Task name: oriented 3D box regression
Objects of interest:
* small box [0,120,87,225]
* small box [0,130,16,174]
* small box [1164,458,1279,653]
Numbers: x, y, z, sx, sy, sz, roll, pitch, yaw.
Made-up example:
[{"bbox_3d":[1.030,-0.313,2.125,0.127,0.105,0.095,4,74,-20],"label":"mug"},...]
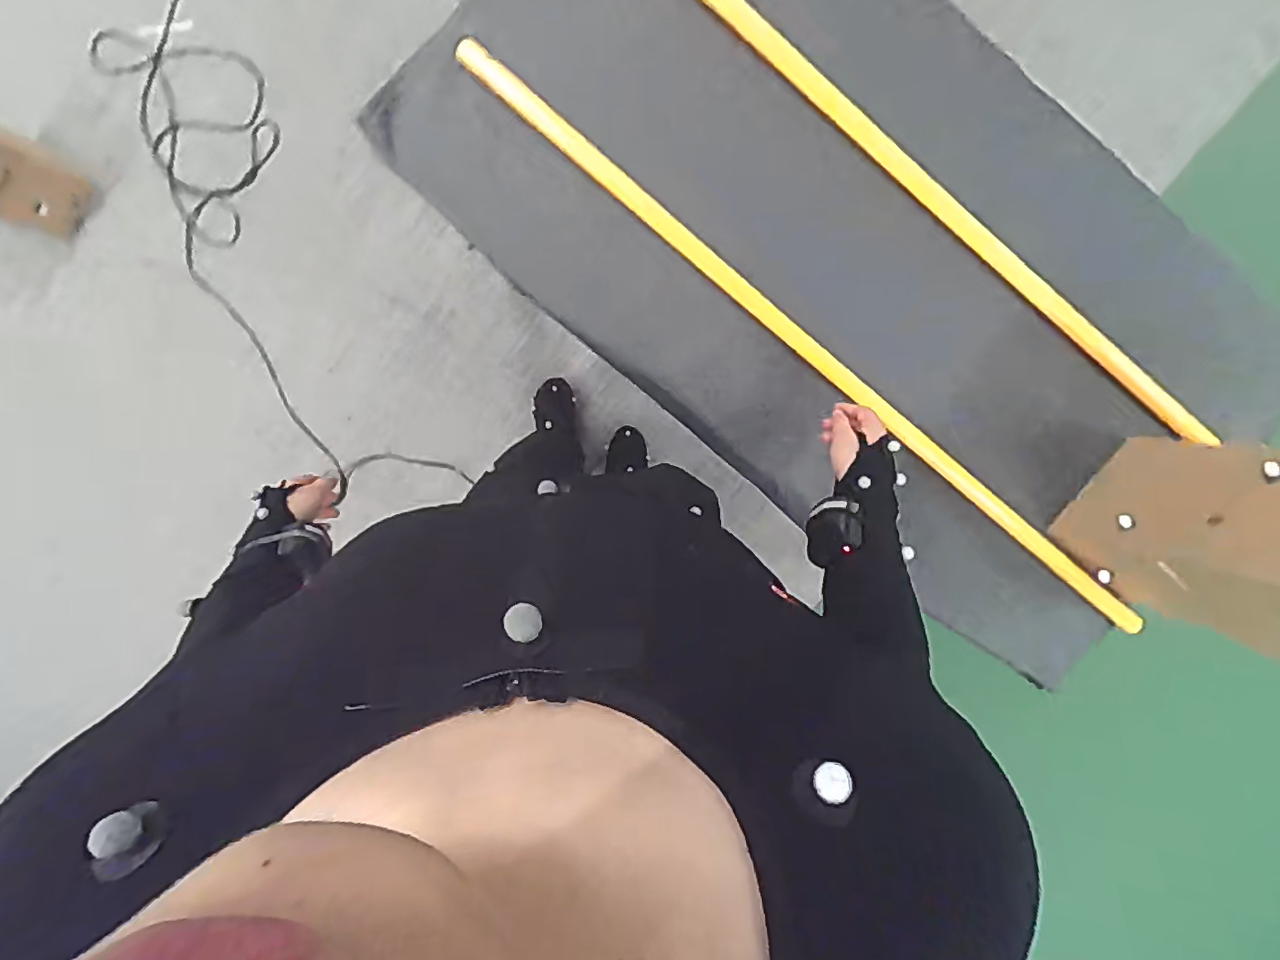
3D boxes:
[{"bbox_3d":[-1.459,-0.719,1.245,0.179,0.176,0.168,35,96,-6],"label":"small box"},{"bbox_3d":[-1.444,-0.694,1.082,0.179,0.176,0.168,33,96,-6],"label":"small box"},{"bbox_3d":[0.702,0.088,0.538,0.179,0.176,0.168,43,95,-7],"label":"small box"}]
